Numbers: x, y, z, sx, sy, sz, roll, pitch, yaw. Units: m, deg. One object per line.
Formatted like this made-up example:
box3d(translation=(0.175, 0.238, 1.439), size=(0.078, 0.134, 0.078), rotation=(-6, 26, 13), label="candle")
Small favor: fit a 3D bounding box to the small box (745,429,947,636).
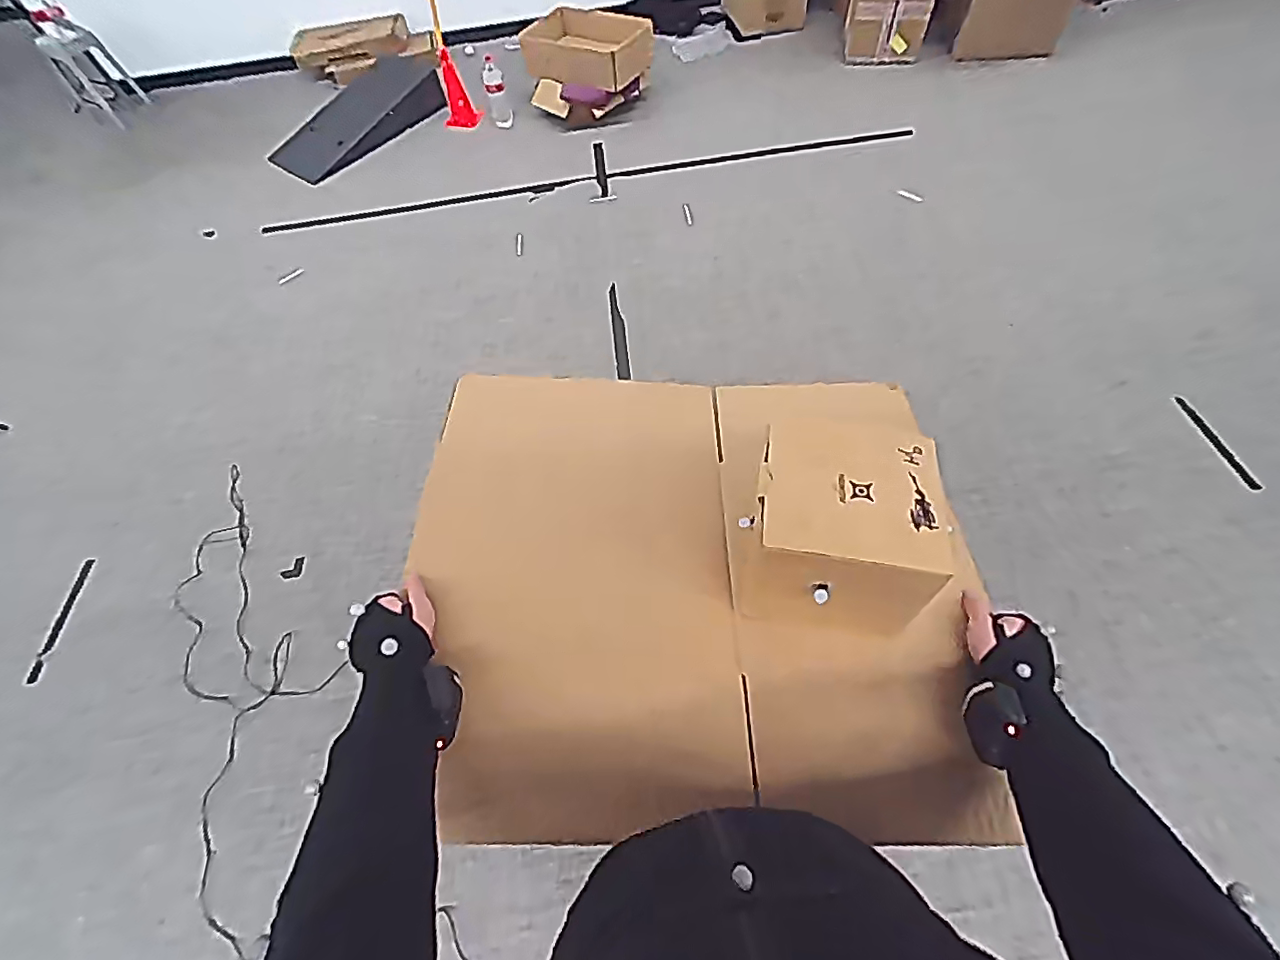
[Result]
box3d(translation=(0.218, 0.063, 0.618), size=(0.179, 0.176, 0.168), rotation=(7, 55, 9), label="small box")
